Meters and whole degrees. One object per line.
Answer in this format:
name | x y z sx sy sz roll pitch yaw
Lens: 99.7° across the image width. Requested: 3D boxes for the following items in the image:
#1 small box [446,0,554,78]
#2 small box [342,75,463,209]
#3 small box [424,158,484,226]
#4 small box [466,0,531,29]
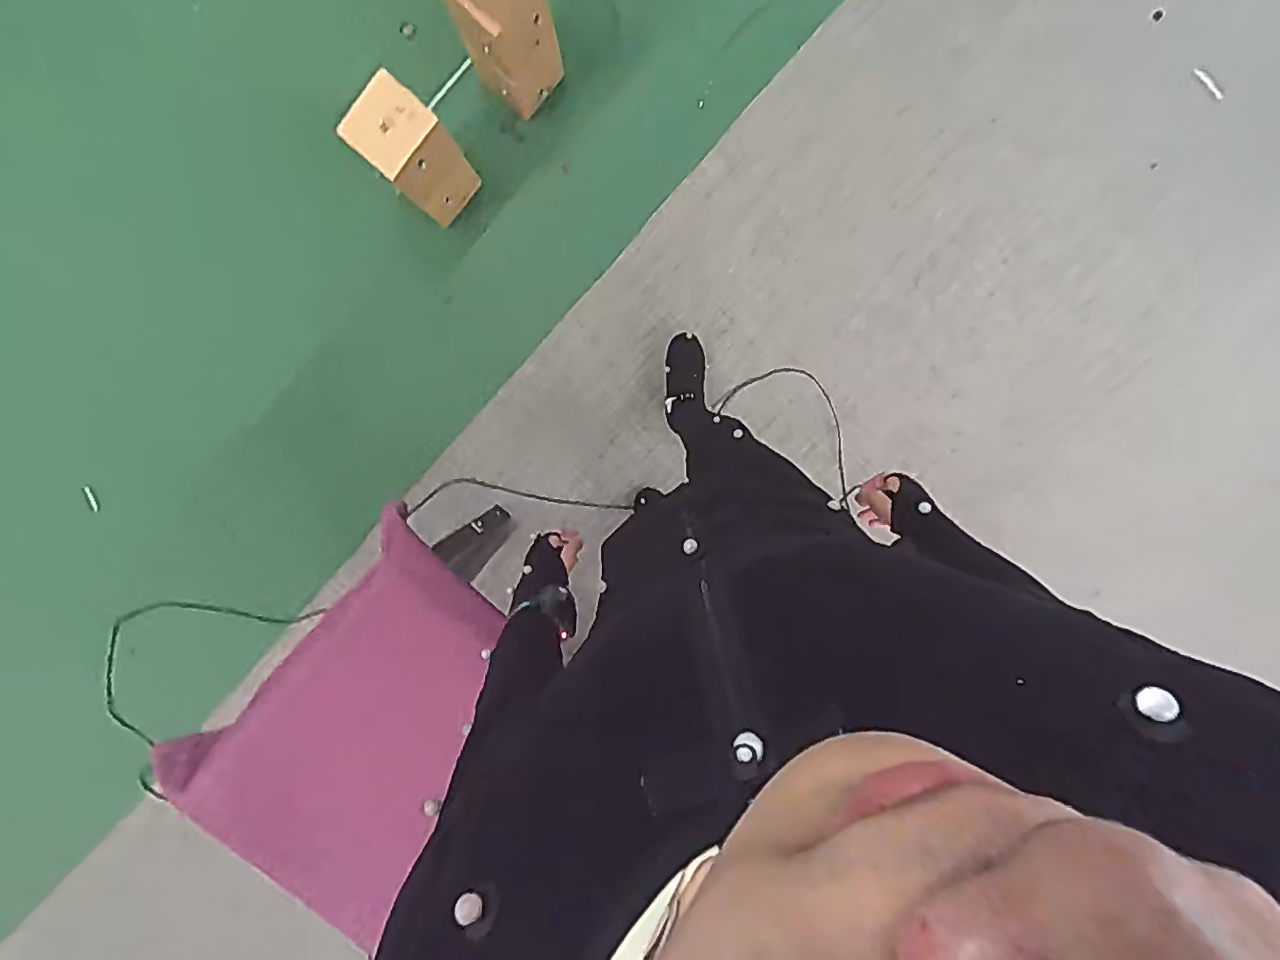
small box | -0.319 -1.084 1.251 0.179 0.176 0.168 41 94 -4
small box | -0.553 -0.789 1.287 0.168 0.176 0.179 41 95 -3
small box | -0.551 -0.812 1.450 0.179 0.176 0.168 41 96 -3
small box | -0.309 -1.077 1.087 0.179 0.176 0.168 36 95 -5
